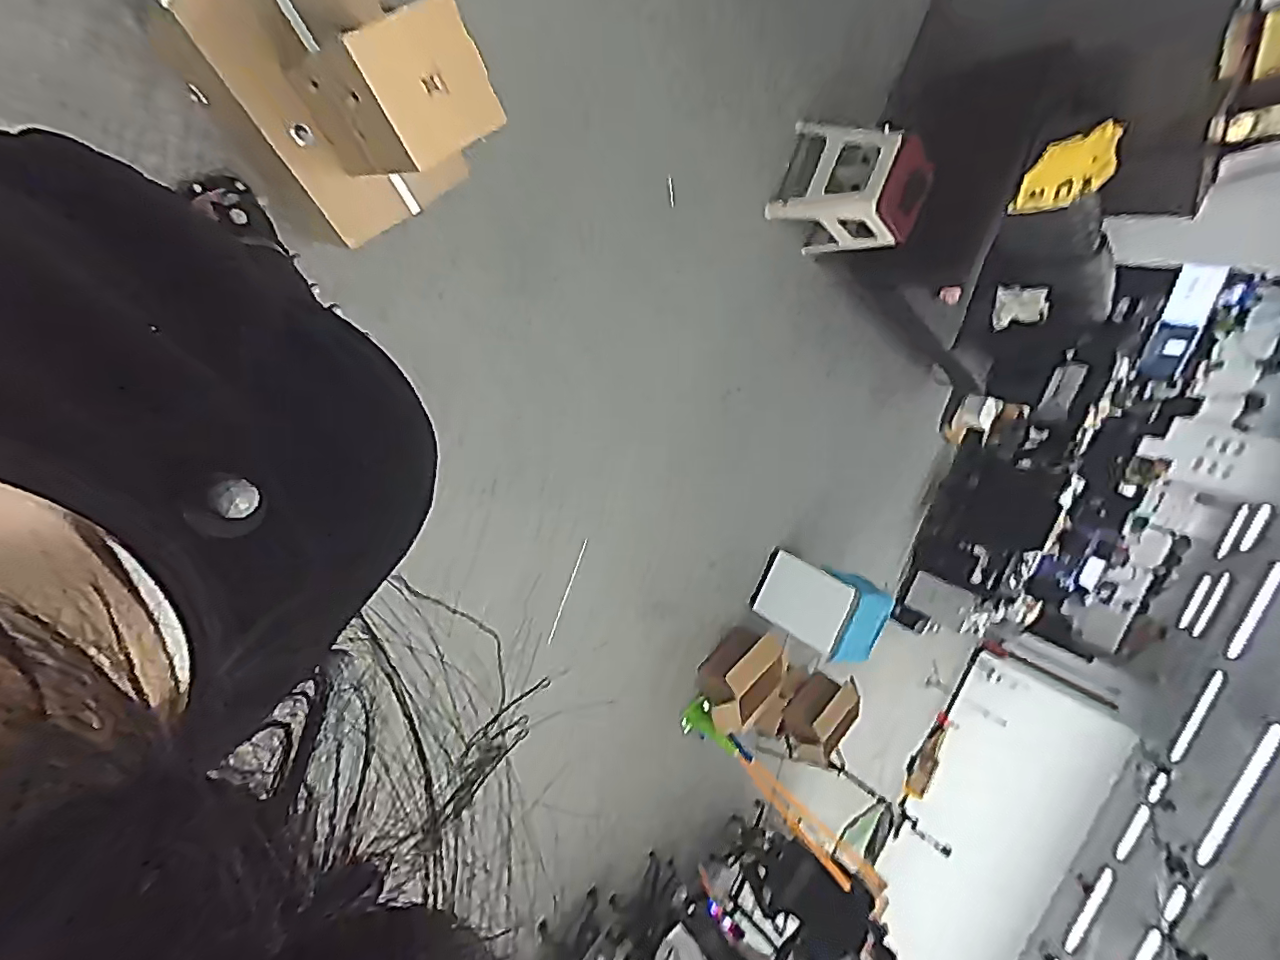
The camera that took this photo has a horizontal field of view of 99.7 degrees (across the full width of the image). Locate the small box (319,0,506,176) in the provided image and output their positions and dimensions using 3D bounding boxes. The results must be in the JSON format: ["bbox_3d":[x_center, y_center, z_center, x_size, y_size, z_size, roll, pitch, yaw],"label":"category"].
[{"bbox_3d":[-0.342,-0.577,0.806,0.179,0.176,0.168,-46,136,-20],"label":"small box"}]
